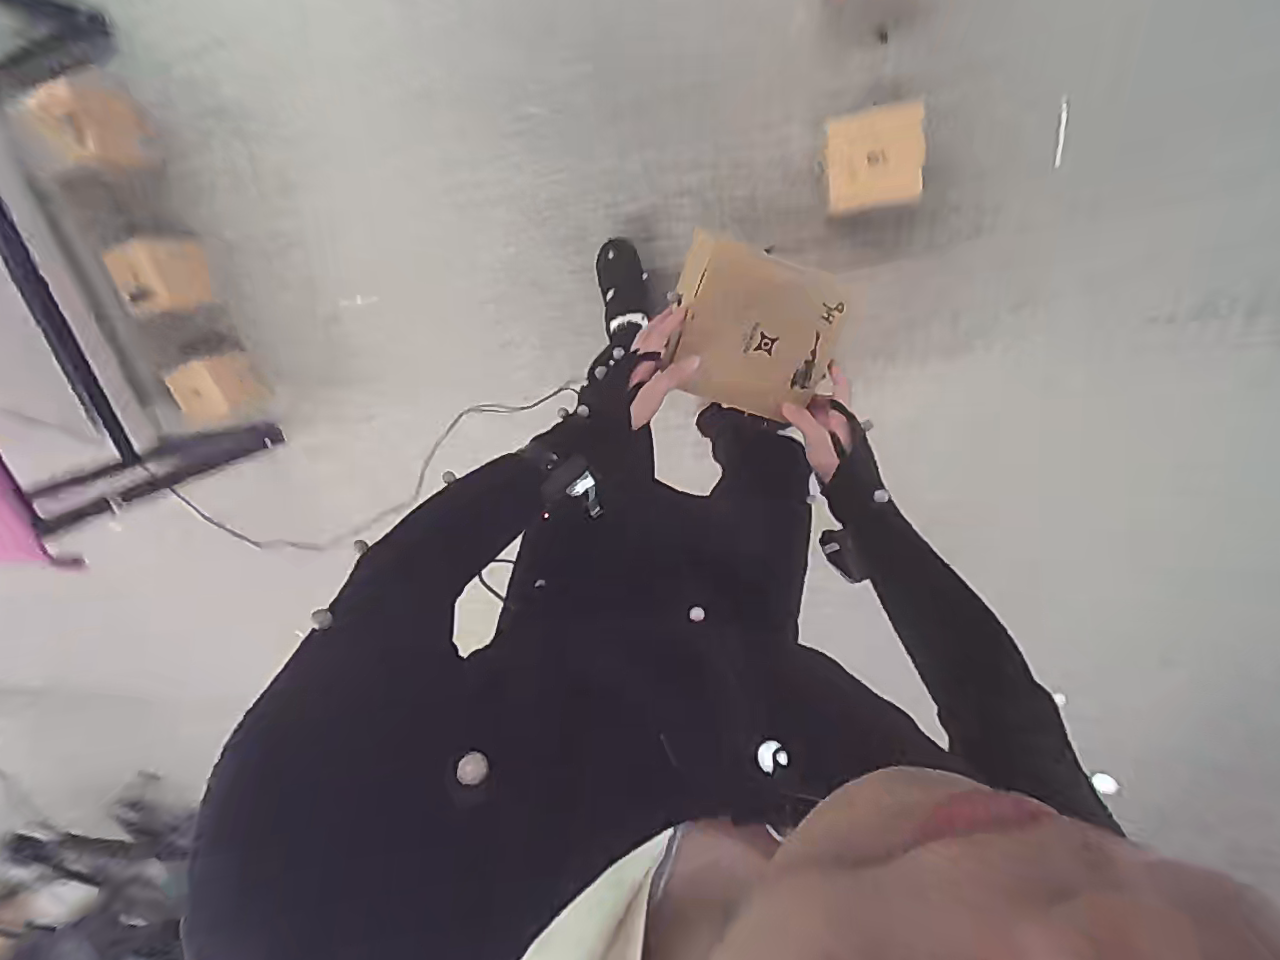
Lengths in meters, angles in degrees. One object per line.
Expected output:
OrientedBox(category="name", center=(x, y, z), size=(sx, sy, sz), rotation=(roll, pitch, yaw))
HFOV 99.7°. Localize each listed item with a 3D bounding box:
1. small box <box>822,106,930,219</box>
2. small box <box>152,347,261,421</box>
OrientedBox(category="small box", center=(0.479, -0.647, 1.122), size=(0.179, 0.176, 0.168), rotation=(-3, 111, 13))
OrientedBox(category="small box", center=(-1.301, -0.295, 1.644), size=(0.179, 0.176, 0.168), rotation=(-11, 109, 16))
